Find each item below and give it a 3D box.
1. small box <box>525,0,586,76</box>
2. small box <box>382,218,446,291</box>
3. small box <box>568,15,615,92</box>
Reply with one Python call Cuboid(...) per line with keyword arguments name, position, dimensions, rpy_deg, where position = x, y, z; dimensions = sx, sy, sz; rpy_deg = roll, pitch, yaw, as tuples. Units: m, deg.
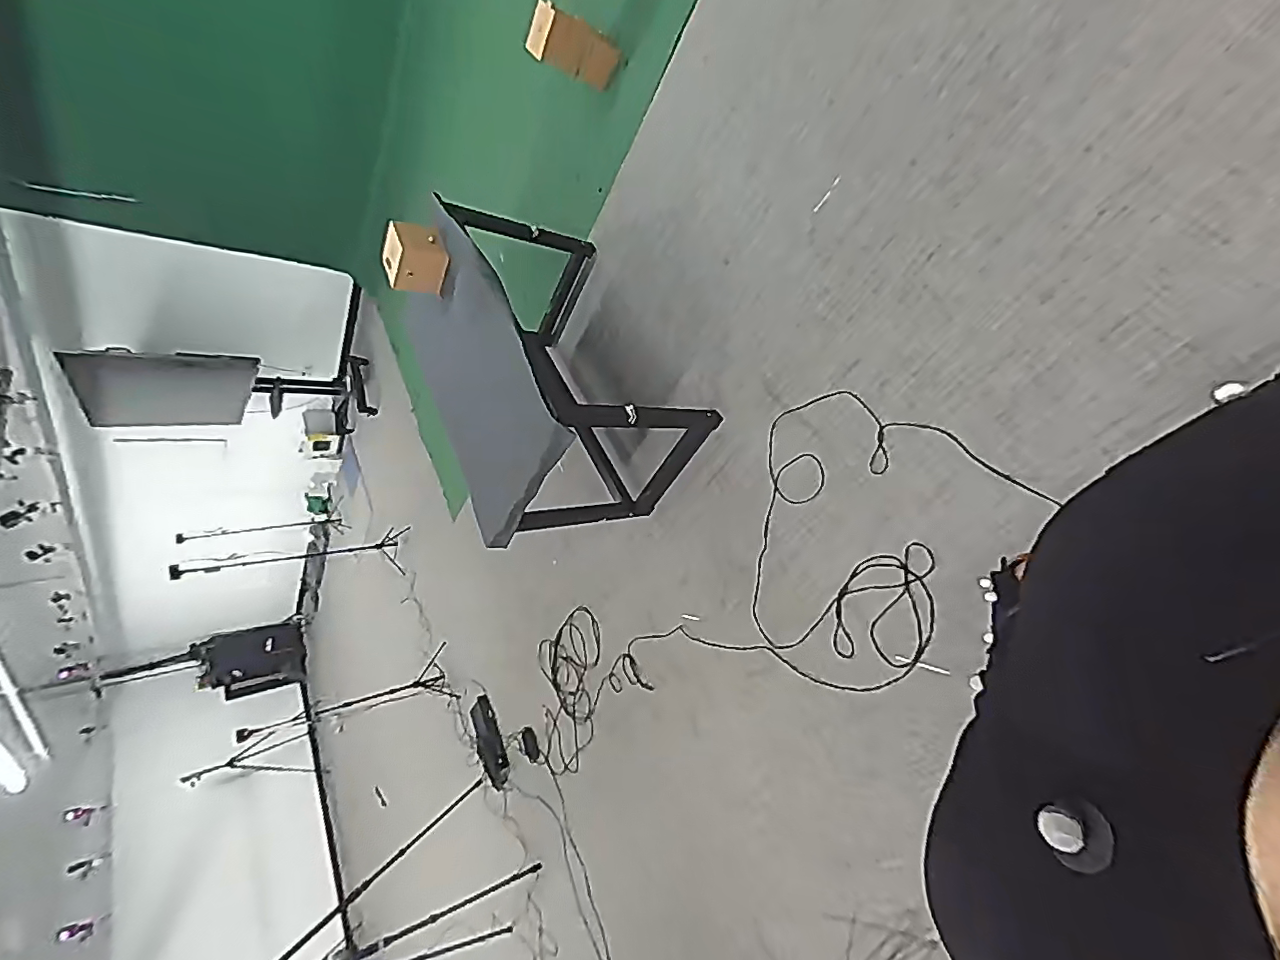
Cuboid(name="small box", position=(-0.343, -1.815, 2.218), dimensions=(0.168, 0.176, 0.179), rpy_deg=(58, 132, 29))
Cuboid(name="small box", position=(-0.829, -0.820, 1.984), dimensions=(0.179, 0.176, 0.168), rpy_deg=(-49, 58, 41))
Cuboid(name="small box", position=(-0.226, -1.833, 2.329), dimensions=(0.179, 0.176, 0.168), rpy_deg=(-47, 59, 40))
